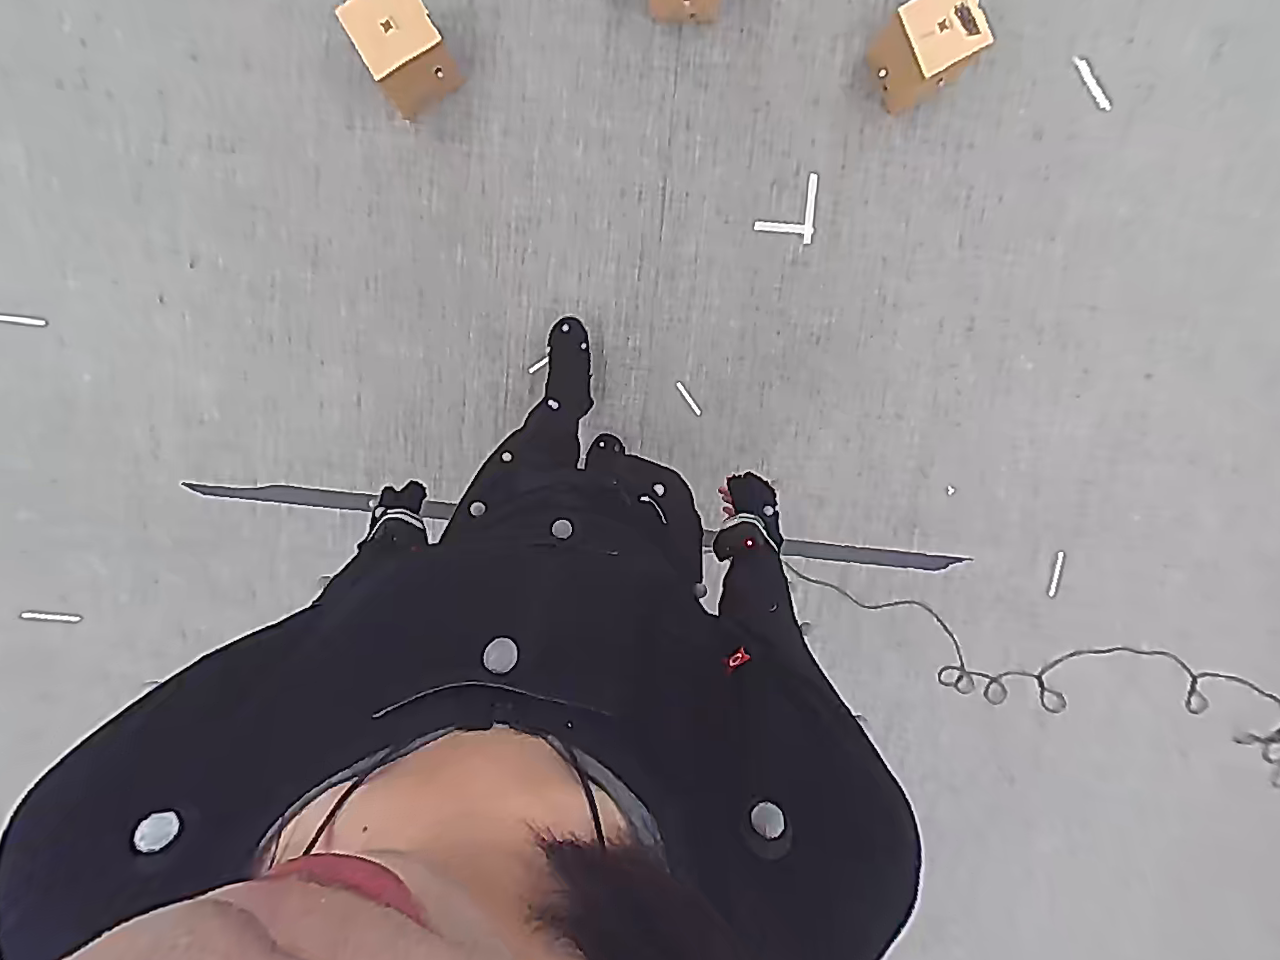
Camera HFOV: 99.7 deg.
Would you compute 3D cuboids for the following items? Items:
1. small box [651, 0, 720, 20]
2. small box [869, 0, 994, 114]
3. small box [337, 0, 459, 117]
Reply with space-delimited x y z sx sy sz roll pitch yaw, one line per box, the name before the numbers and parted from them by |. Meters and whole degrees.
small box | 0.110 -1.205 1.244 0.168 0.176 0.179 -2 100 -2
small box | 0.689 -1.031 1.295 0.179 0.176 0.168 -28 99 3
small box | -0.543 -0.998 1.252 0.179 0.176 0.168 -30 98 3
